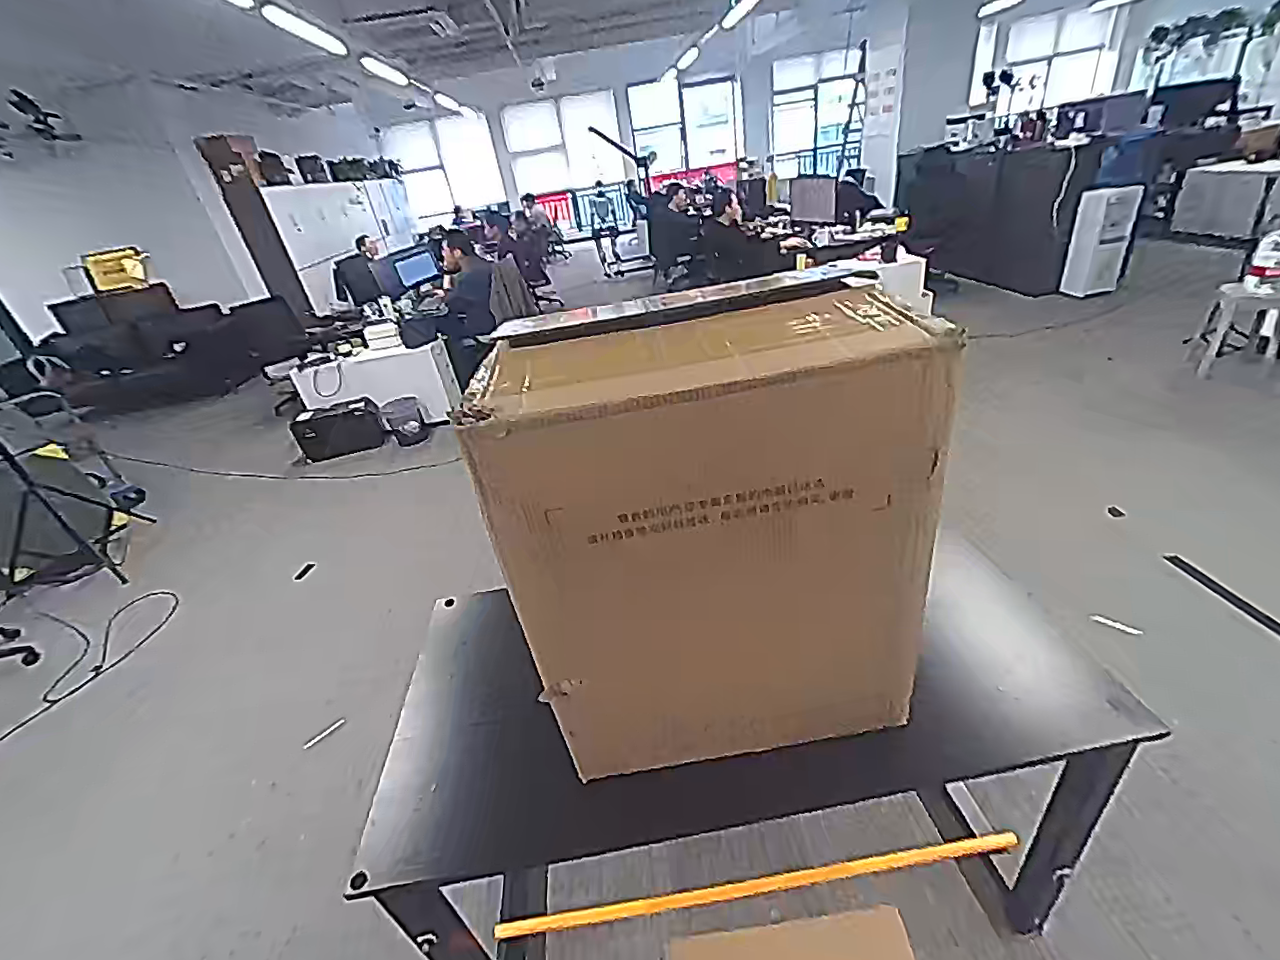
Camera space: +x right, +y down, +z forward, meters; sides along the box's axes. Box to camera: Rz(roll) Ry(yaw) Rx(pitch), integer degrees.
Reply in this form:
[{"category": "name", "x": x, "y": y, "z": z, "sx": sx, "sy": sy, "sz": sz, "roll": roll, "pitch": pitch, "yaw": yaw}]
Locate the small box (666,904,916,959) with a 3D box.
[{"category": "small box", "x": 0.116, "y": 0.436, "z": 0.398, "sx": 0.179, "sy": 0.176, "sz": 0.168, "roll": -5, "pitch": 46, "yaw": -4}]
